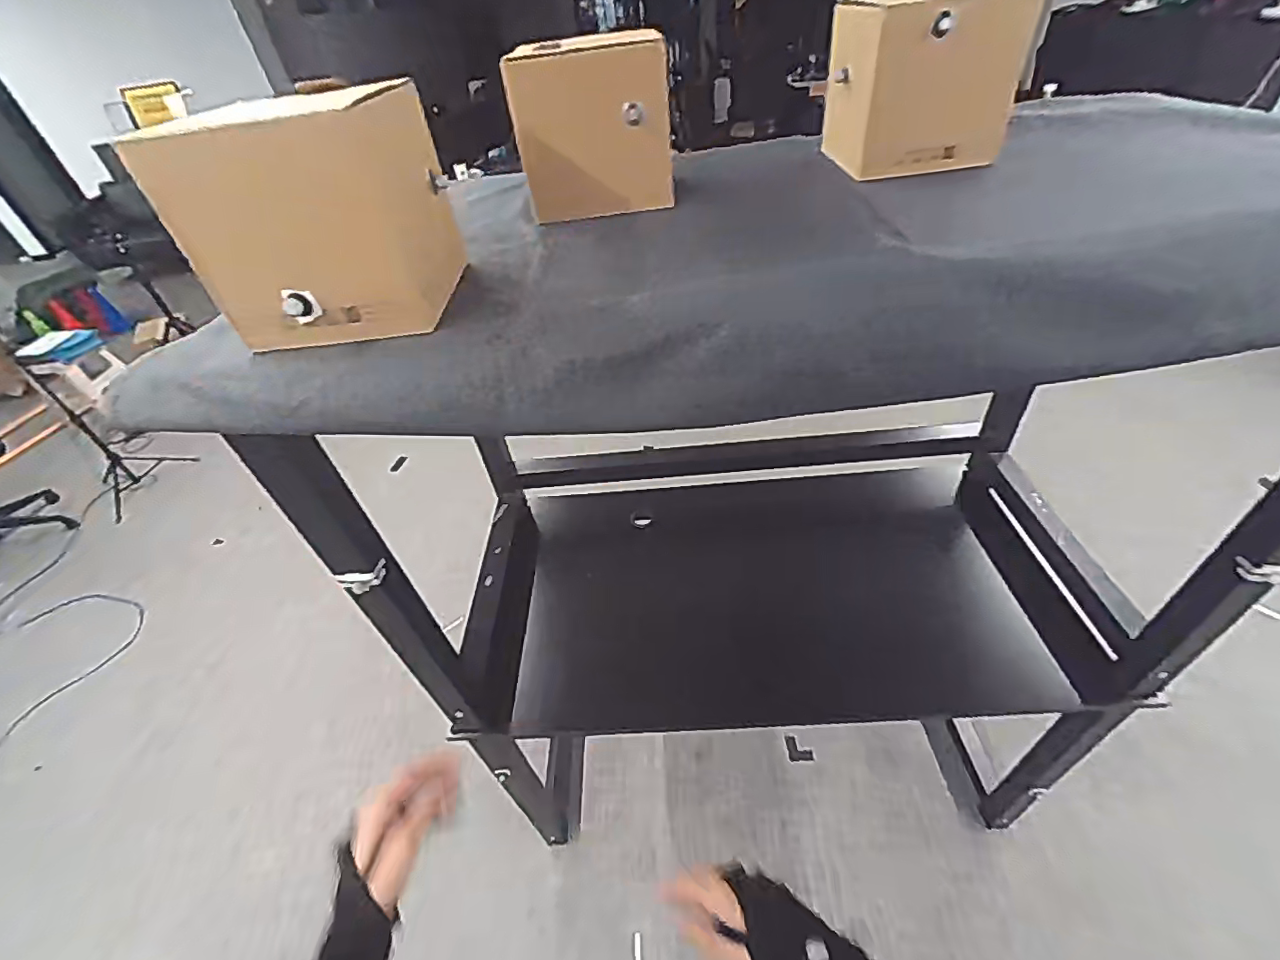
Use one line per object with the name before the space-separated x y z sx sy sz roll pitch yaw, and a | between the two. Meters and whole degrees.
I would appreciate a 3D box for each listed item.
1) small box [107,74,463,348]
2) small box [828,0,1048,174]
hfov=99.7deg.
small box | -0.268 -0.233 0.468 0.168 0.176 0.179 -7 41 2
small box | 0.340 -0.487 0.658 0.168 0.176 0.179 -6 41 3
